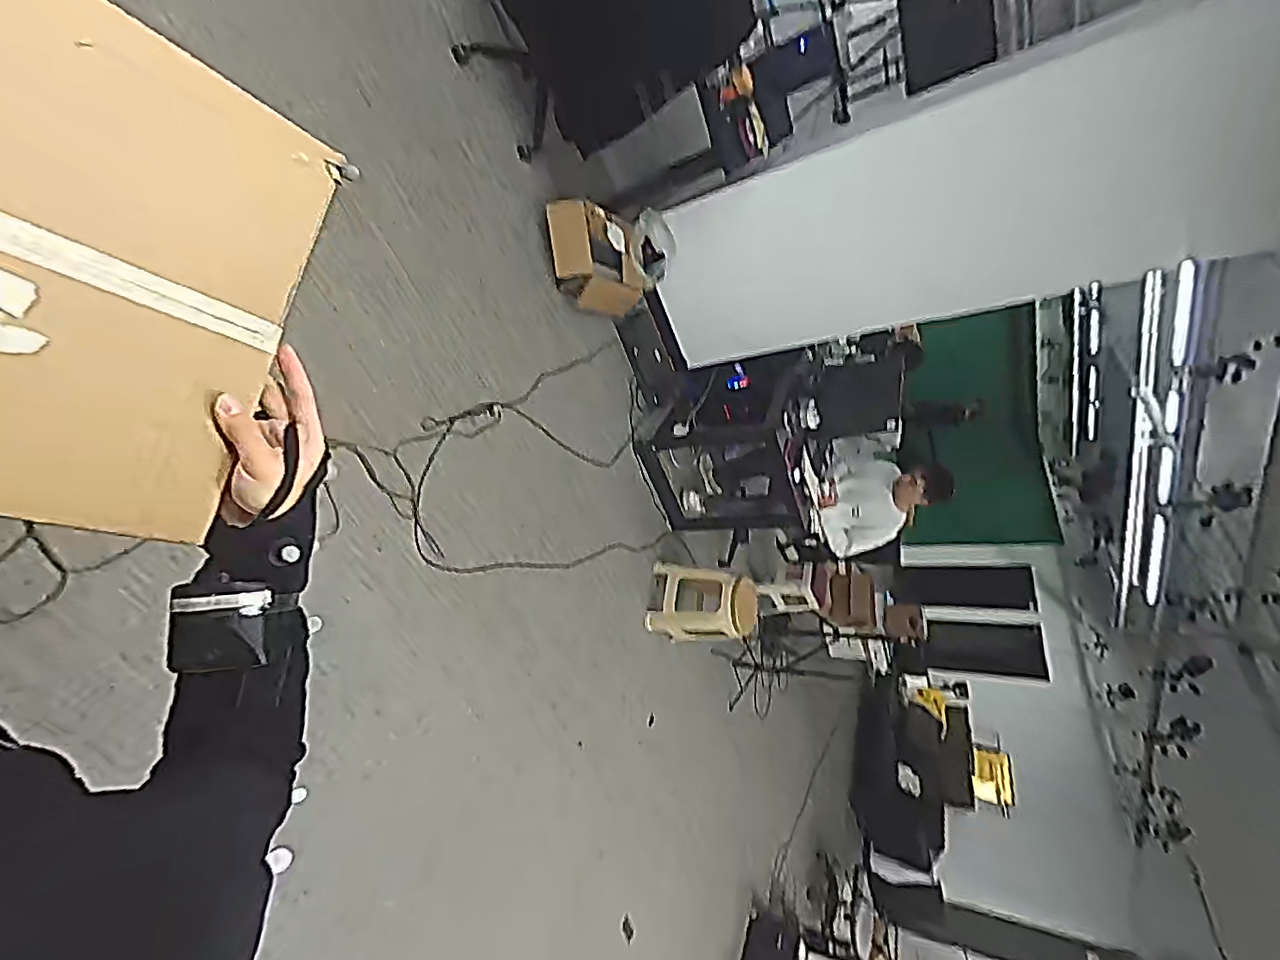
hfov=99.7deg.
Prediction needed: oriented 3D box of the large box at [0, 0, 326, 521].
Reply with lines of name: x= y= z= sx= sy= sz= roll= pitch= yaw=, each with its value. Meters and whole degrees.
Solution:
large box: x=-0.516 y=-0.178 z=0.363 sx=0.408 sy=0.320 sz=0.320 roll=22 pitch=80 yaw=-45
